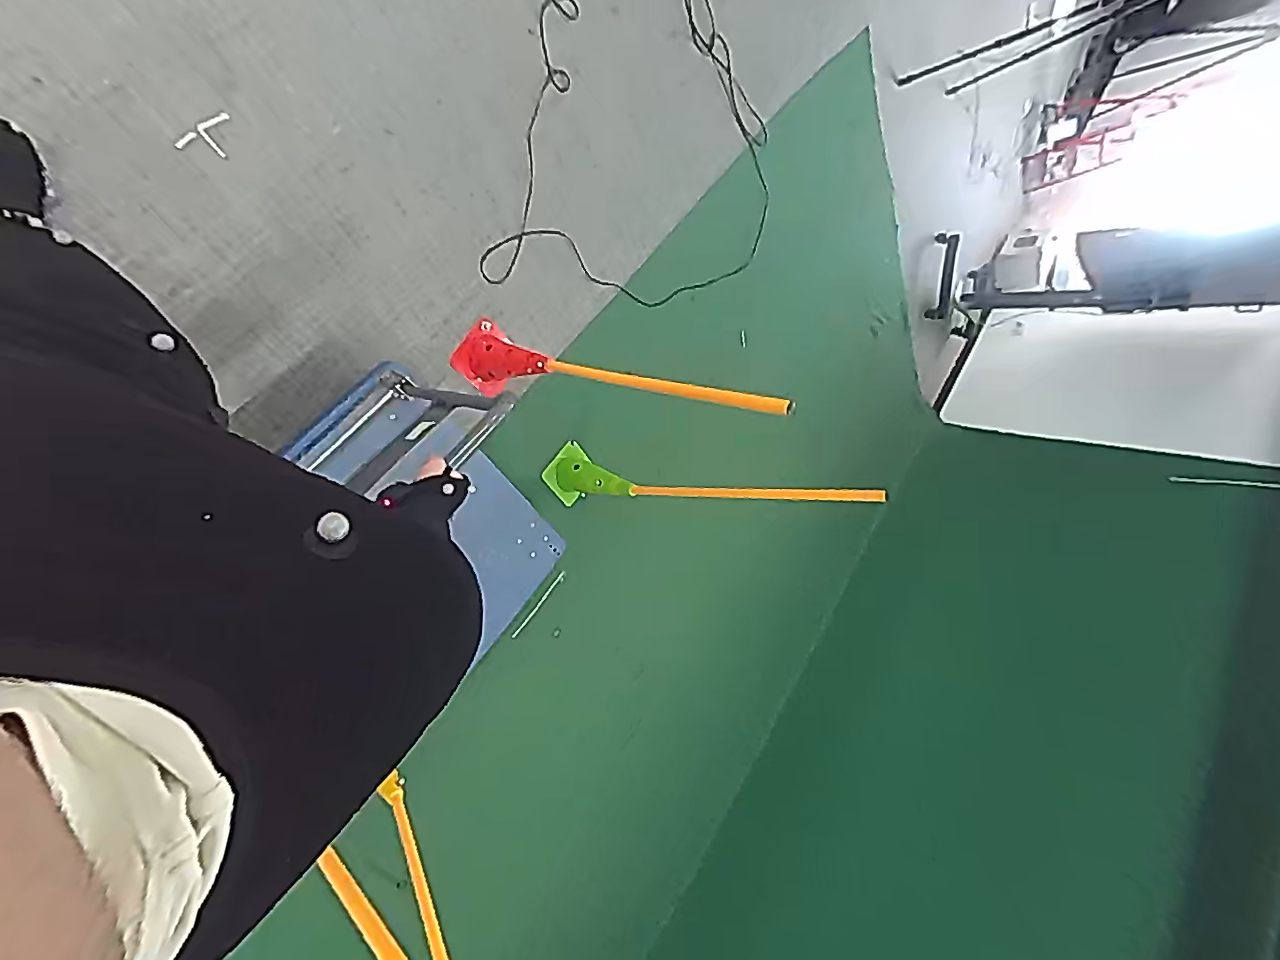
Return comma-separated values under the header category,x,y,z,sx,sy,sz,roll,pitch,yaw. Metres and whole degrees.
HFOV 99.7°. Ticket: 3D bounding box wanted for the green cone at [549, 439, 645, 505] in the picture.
category,x,y,z,sx,sy,sz,roll,pitch,yaw
green cone,-0.126,0.004,1.970,0.200,0.368,0.202,-54,134,-21
